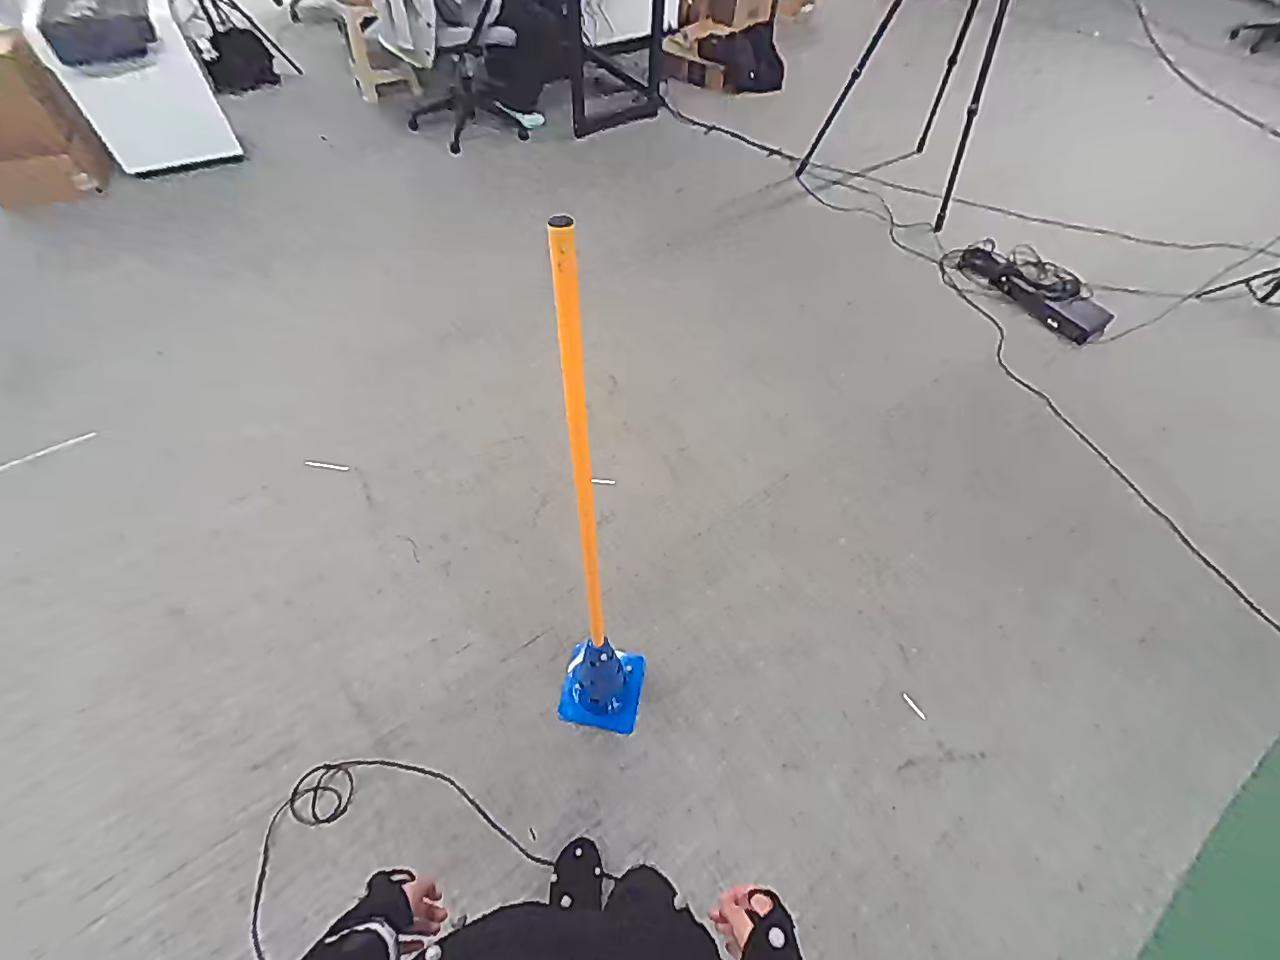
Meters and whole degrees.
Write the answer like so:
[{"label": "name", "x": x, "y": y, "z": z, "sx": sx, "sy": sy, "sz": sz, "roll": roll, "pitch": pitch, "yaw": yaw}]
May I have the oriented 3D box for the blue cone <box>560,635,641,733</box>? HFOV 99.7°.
[{"label": "blue cone", "x": -0.094, "y": 0.439, "z": 1.244, "sx": 0.192, "sy": 0.380, "sz": 0.193, "roll": 9, "pitch": 54, "yaw": 4}]
